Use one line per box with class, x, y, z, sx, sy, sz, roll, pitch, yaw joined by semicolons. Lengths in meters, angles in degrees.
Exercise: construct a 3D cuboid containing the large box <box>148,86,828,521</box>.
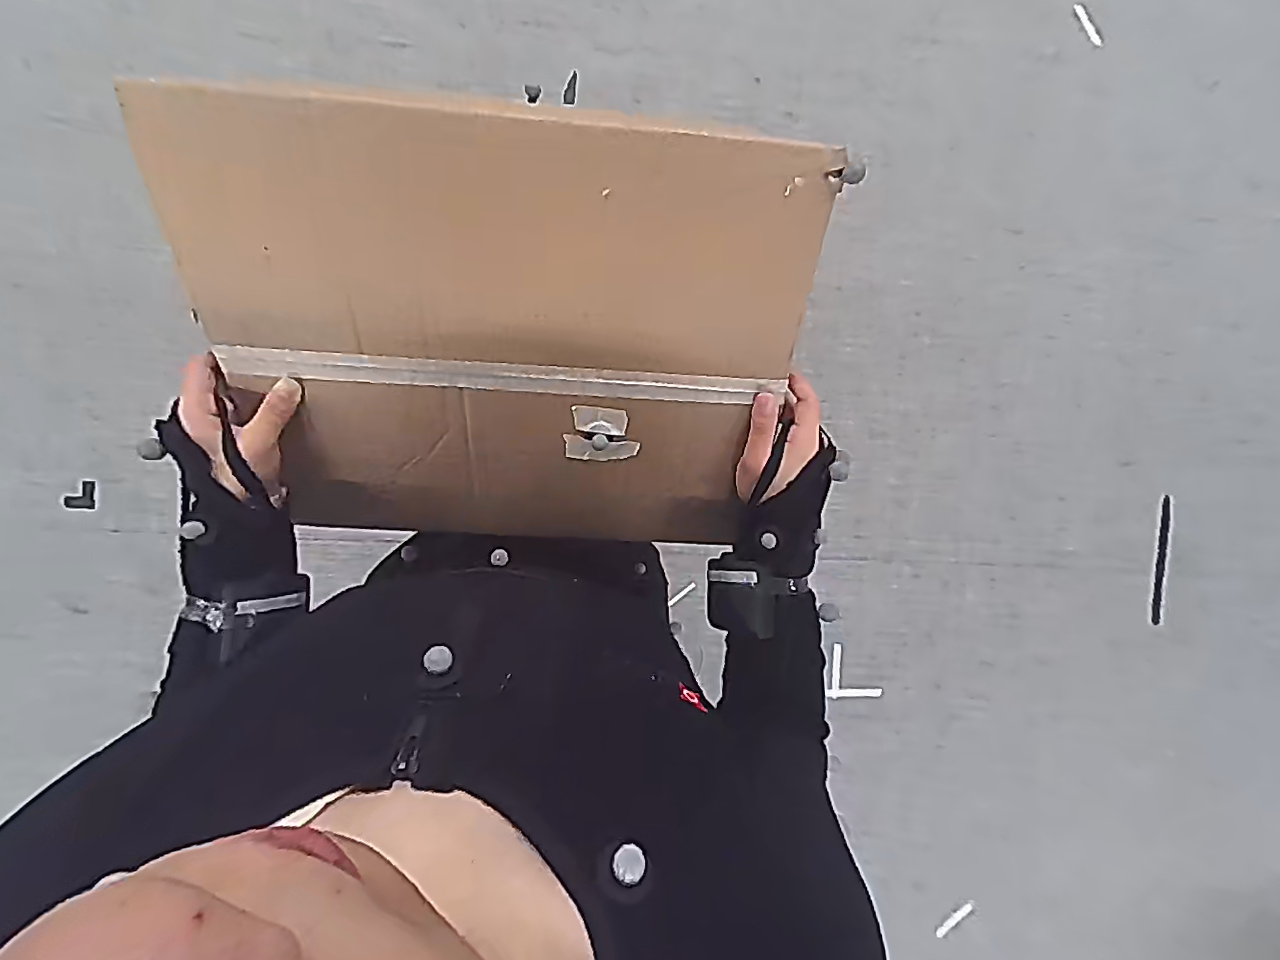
large box;-0.099;-0.176;0.522;0.408;0.320;0.320;2;127;-5
